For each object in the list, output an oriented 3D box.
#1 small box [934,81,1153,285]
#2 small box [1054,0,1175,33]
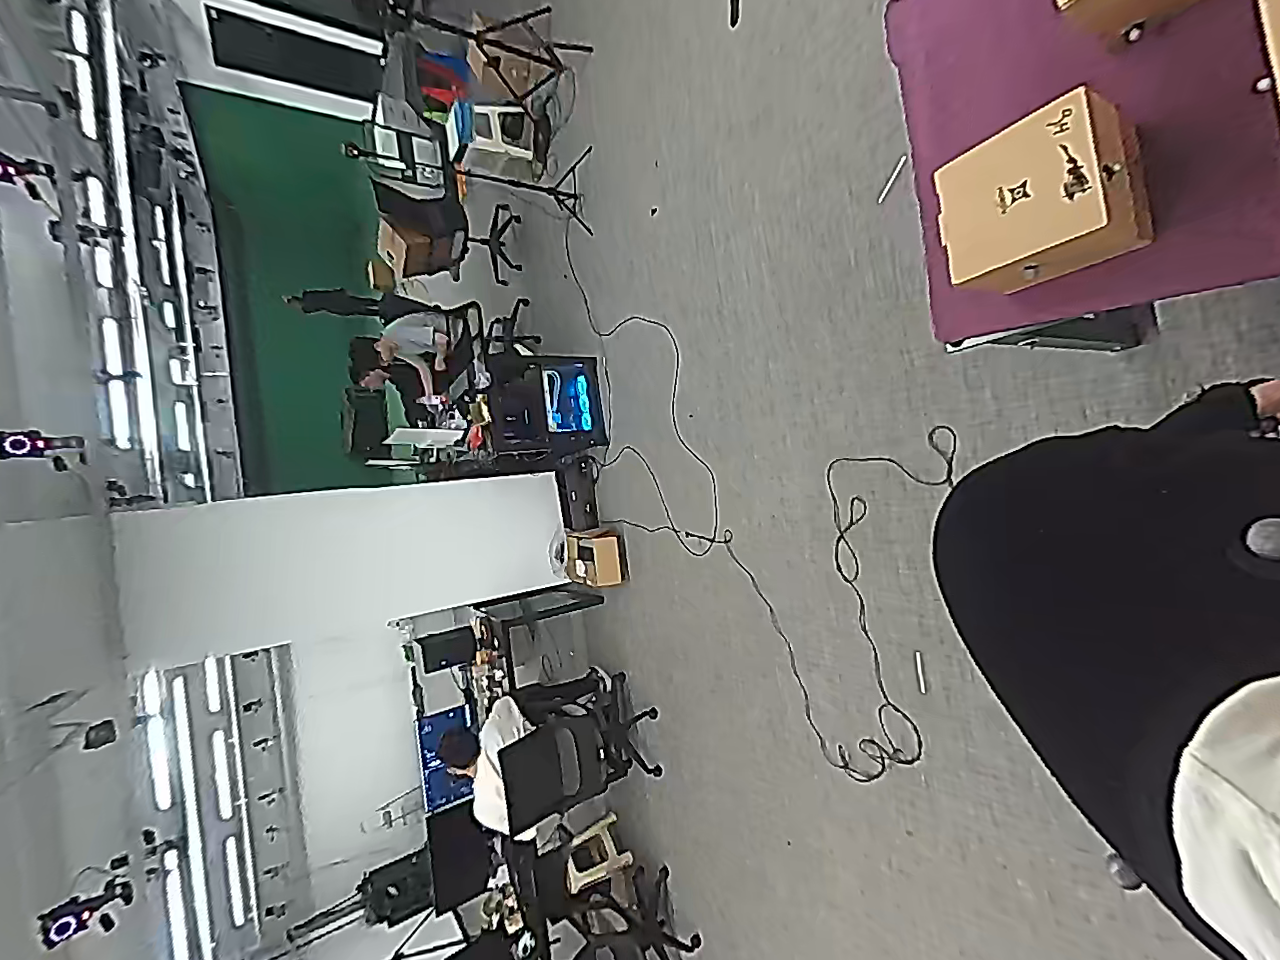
[{"bbox_3d":[0.534,-0.374,0.723,0.179,0.176,0.168,-10,89,58],"label":"small box"},{"bbox_3d":[0.578,-0.650,0.602,0.168,0.176,0.179,-11,86,57],"label":"small box"}]
